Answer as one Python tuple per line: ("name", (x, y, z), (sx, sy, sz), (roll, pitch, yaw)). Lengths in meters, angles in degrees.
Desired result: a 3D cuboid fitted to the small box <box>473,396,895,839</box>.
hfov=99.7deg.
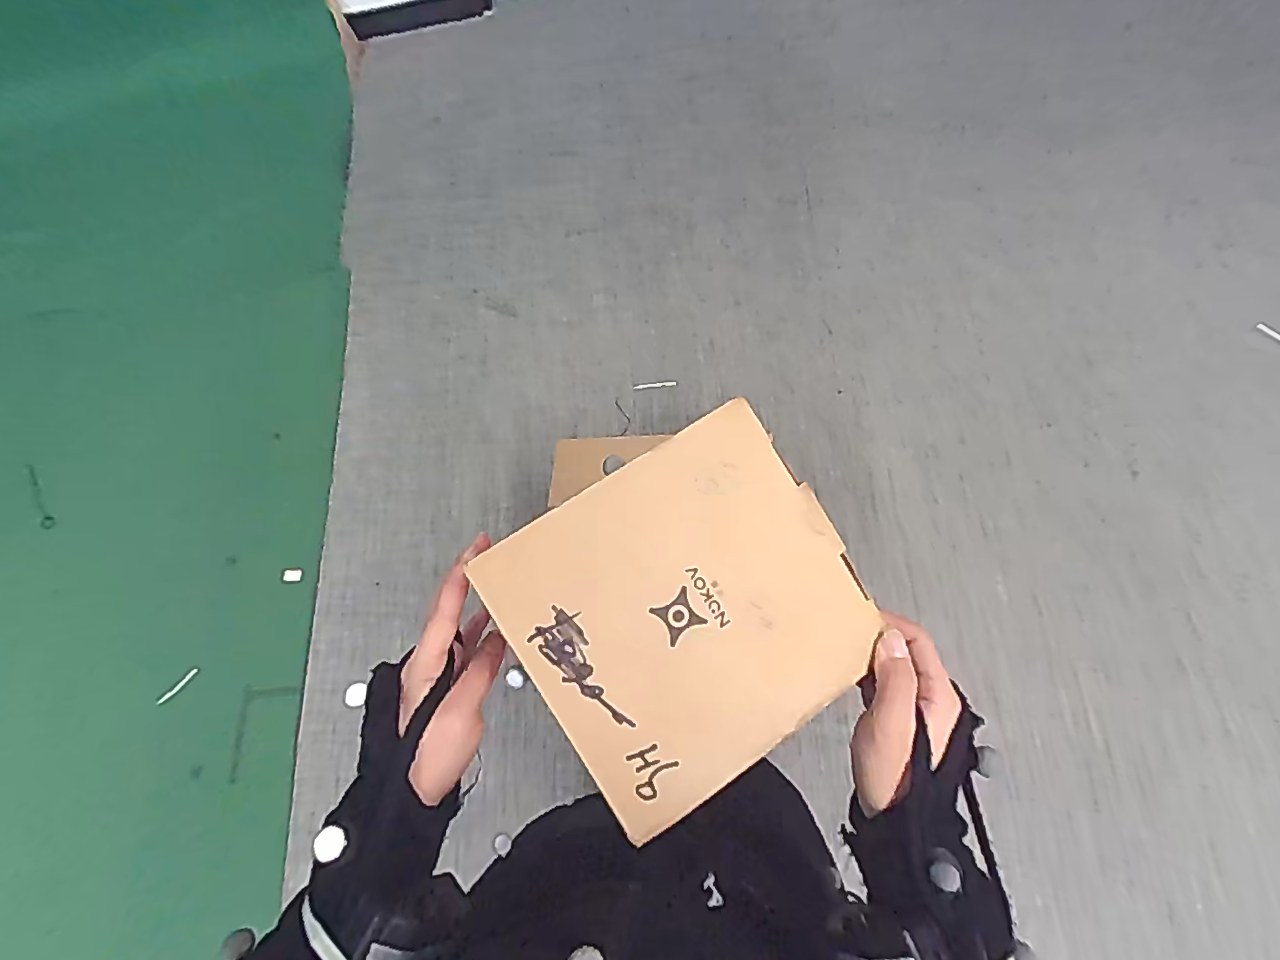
("small box", (0.015, 0.072, 0.358), (0.179, 0.176, 0.168), (-31, 89, -12))
